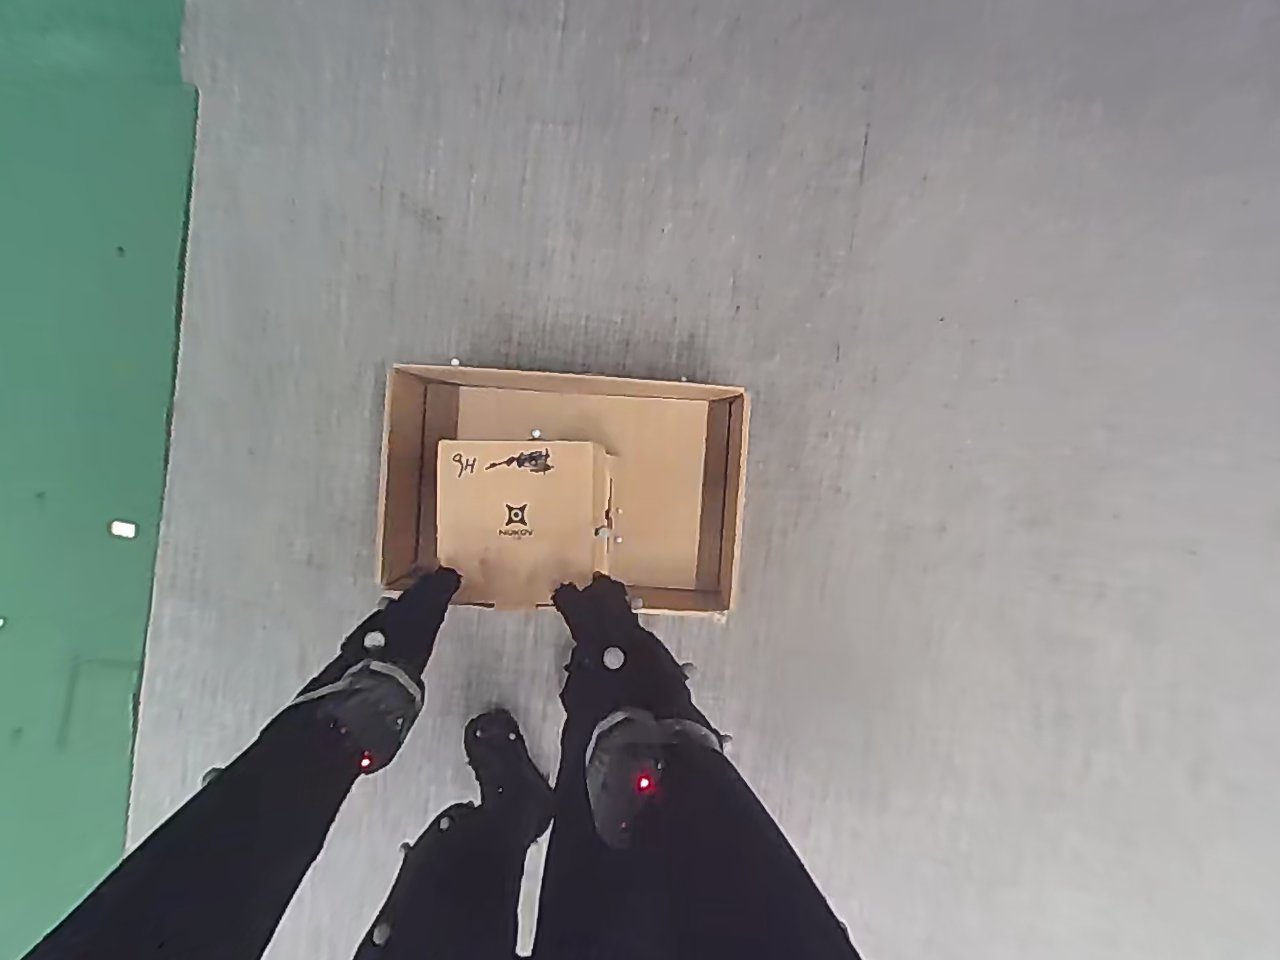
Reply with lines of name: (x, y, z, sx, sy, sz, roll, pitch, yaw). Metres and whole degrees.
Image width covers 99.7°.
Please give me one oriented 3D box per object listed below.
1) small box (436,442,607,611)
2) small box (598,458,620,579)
small box: (-0.130, 0.046, 0.648, 0.168, 0.176, 0.179, 2, 92, 1)
small box: (-0.125, 0.044, 0.811, 0.179, 0.176, 0.168, 4, 91, 2)
